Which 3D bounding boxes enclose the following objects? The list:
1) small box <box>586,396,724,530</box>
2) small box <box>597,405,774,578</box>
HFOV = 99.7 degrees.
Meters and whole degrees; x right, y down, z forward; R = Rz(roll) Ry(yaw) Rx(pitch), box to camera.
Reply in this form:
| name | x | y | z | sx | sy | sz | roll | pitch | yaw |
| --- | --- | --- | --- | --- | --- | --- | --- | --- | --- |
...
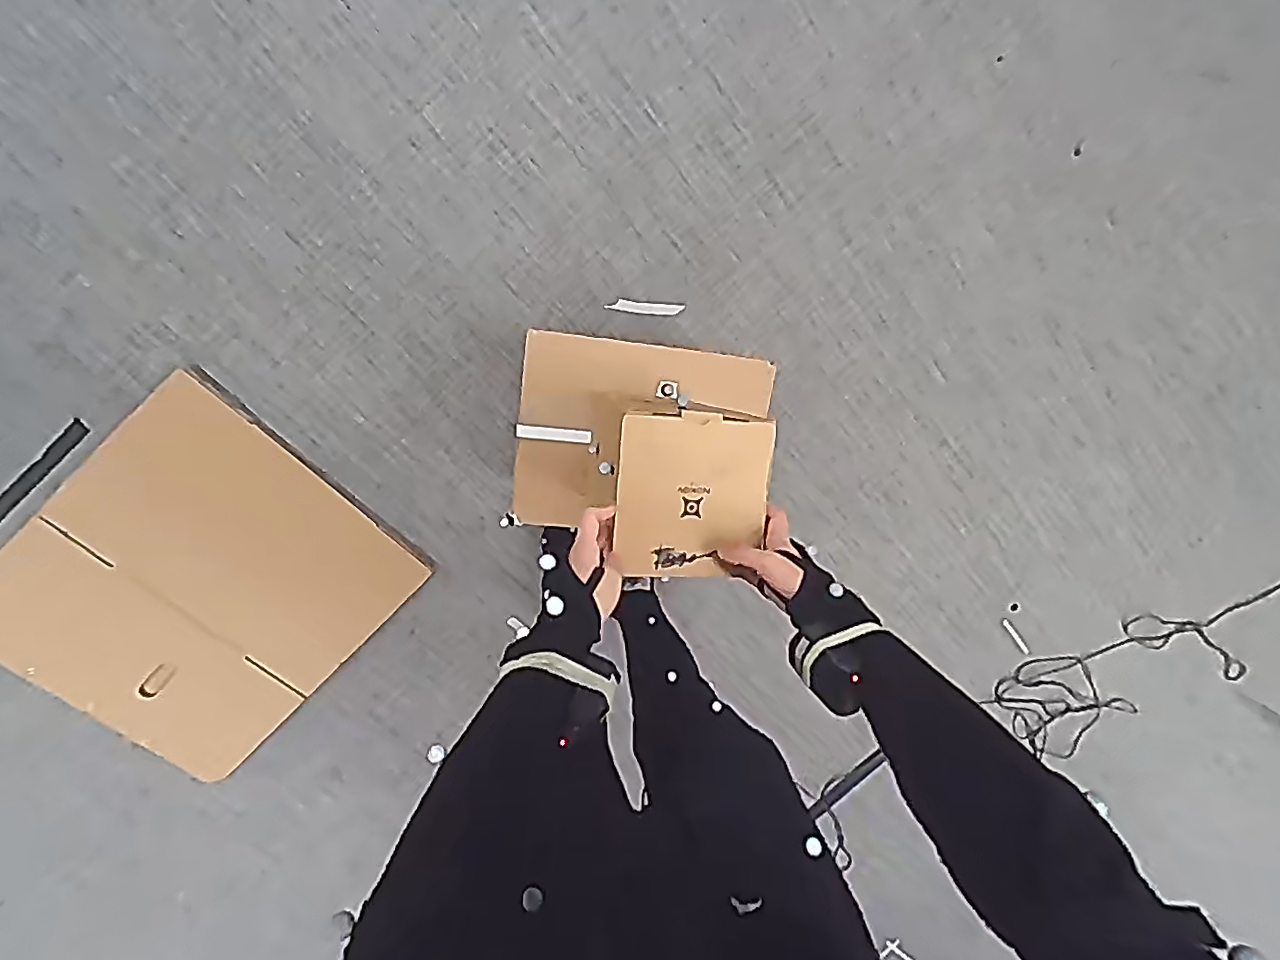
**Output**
| name | x | y | z | sx | sy | sz | roll | pitch | yaw |
| --- | --- | --- | --- | --- | --- | --- | --- | --- | --- |
| small box | 0.013 | -0.028 | 0.801 | 0.168 | 0.176 | 0.179 | 4 | 102 | -11 |
| small box | 0.041 | 0.005 | 0.642 | 0.168 | 0.176 | 0.179 | 3 | 100 | -10 |
